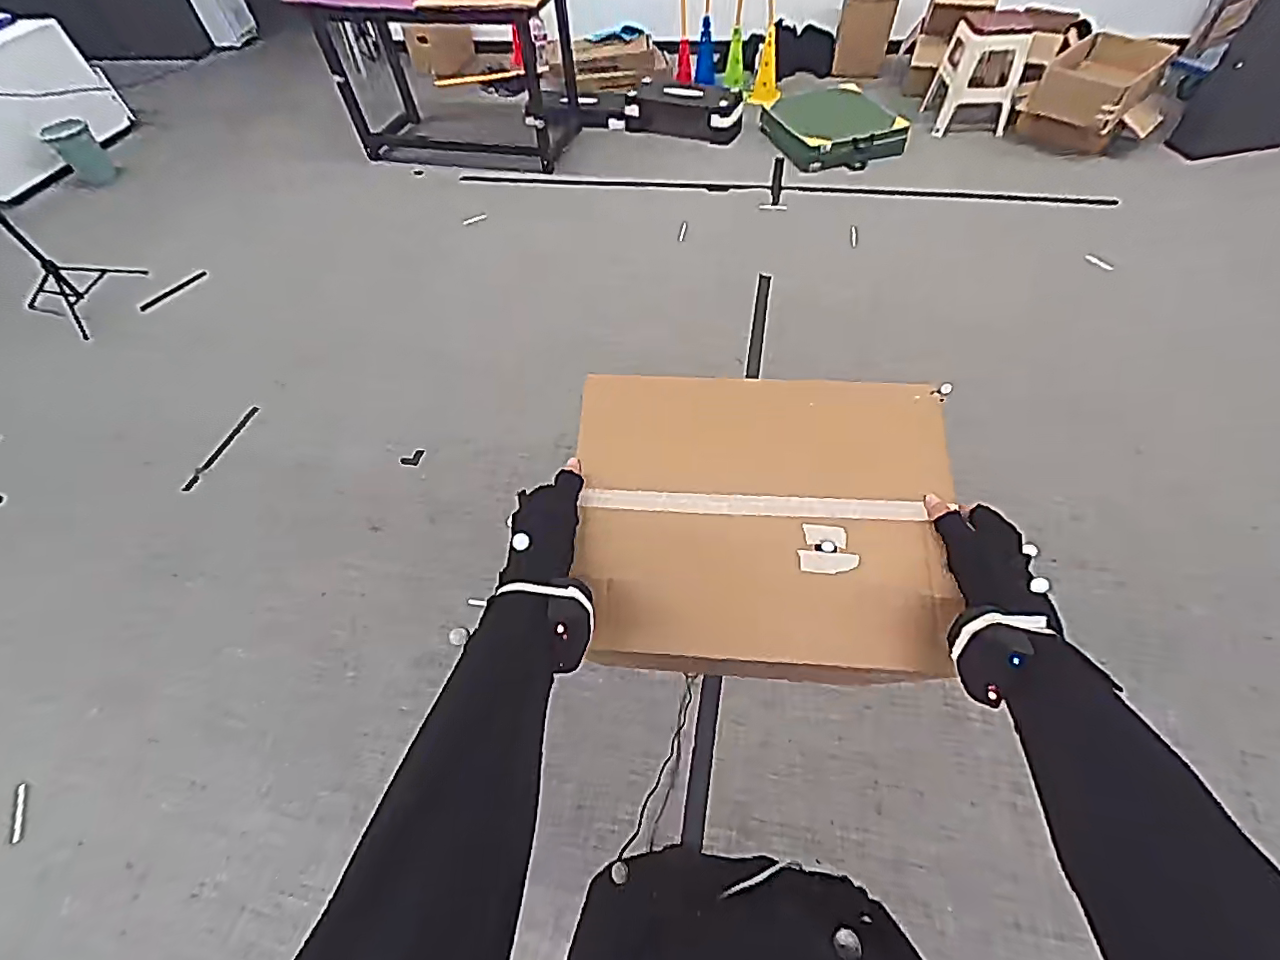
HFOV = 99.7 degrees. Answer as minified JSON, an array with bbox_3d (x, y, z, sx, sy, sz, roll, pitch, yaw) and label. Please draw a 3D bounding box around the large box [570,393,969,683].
[{"bbox_3d":[0.137,0.097,0.729,0.408,0.320,0.320,3,69,4],"label":"large box"}]
